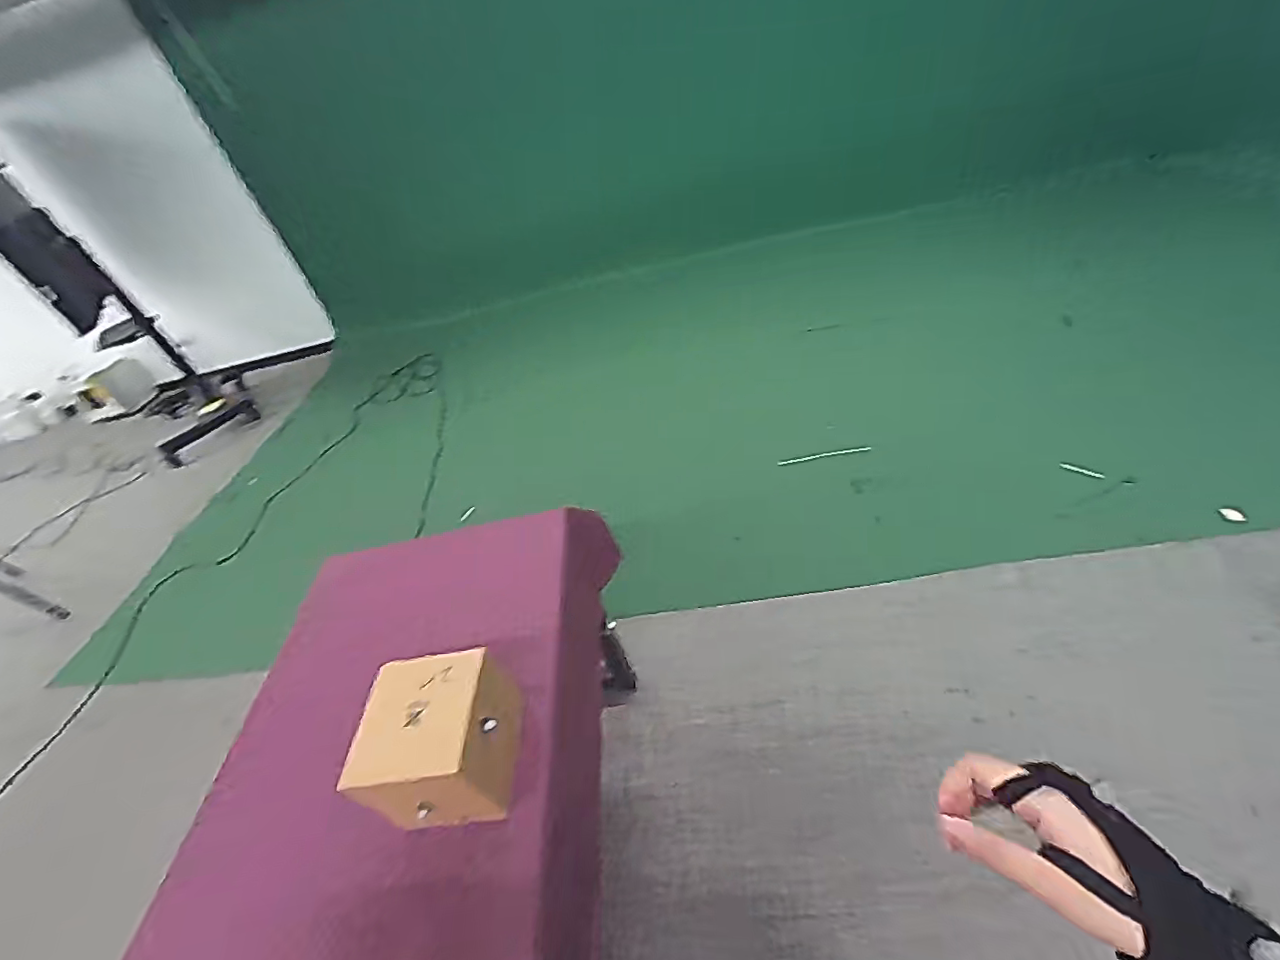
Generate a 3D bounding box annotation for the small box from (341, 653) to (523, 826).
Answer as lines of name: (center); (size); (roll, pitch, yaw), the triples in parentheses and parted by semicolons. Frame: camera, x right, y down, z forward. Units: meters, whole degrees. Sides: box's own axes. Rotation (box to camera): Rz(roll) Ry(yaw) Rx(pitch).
small box: (-0.283, 0.382, 0.786); (0.168, 0.176, 0.179); (-11, 40, 8)
